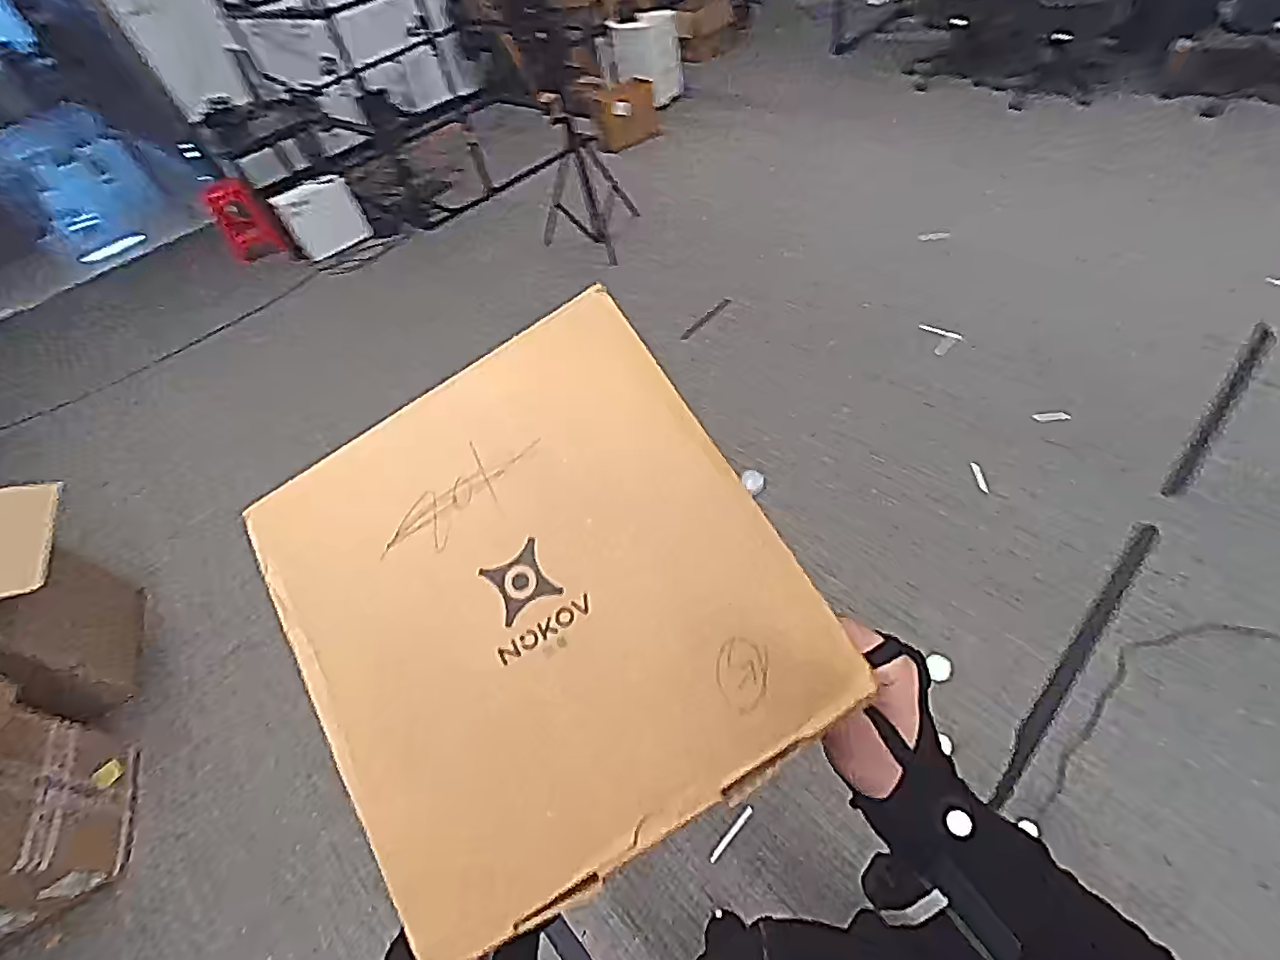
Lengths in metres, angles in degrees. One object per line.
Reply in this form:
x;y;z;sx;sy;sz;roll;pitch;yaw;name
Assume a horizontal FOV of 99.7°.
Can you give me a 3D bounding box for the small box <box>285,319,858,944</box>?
-0.025;0.062;0.278;0.168;0.176;0.179;-32;73;-1;small box
